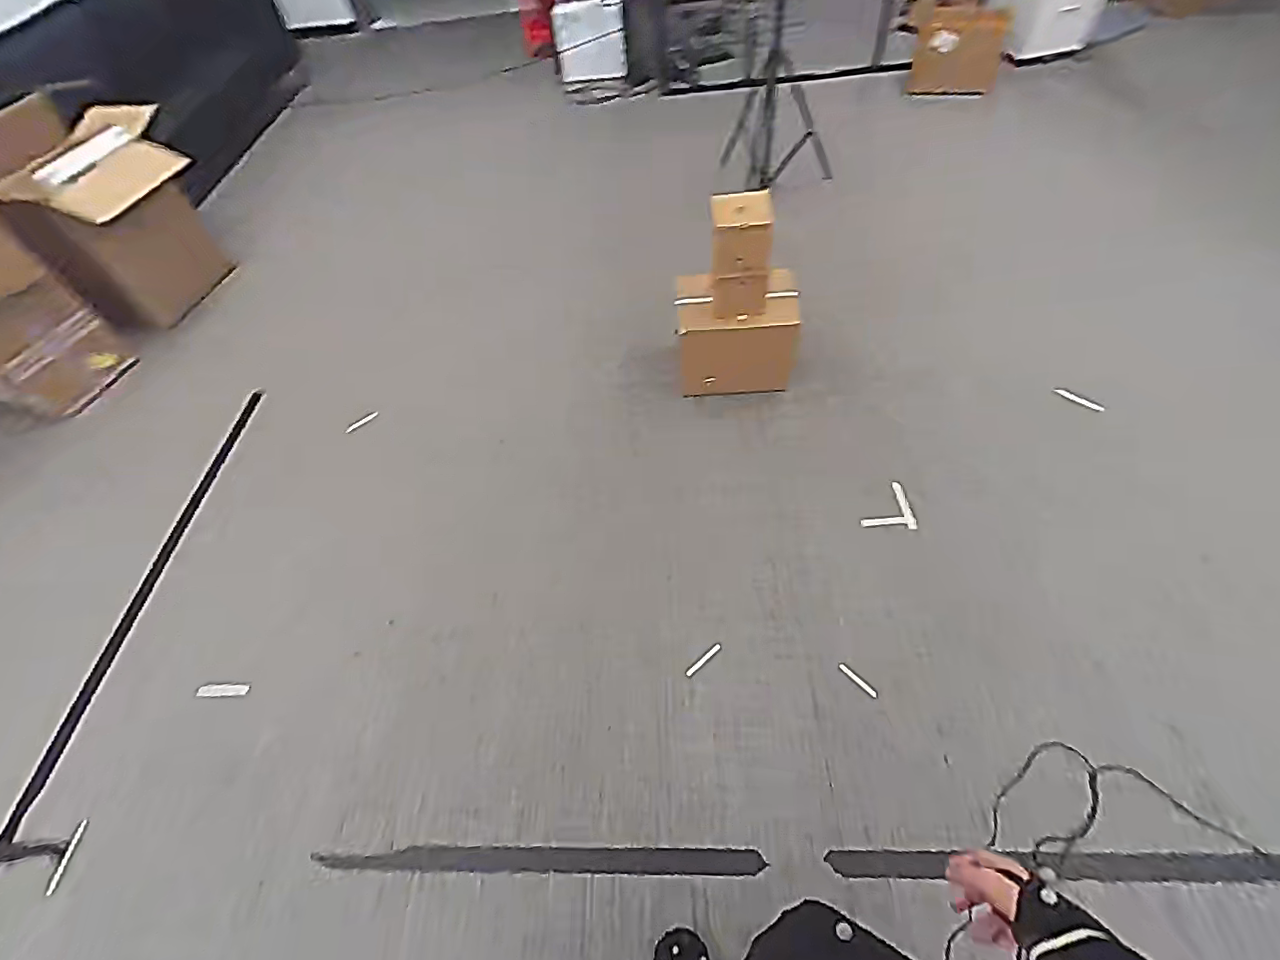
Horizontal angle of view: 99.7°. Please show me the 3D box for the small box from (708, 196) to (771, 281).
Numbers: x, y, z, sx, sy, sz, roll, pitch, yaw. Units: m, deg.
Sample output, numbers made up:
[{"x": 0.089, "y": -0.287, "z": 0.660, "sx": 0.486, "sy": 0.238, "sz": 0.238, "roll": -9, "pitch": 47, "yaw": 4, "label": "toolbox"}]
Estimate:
[{"x": 0.298, "y": -0.736, "z": 1.653, "sx": 0.168, "sy": 0.176, "sz": 0.179, "roll": -4, "pitch": 56, "yaw": 4, "label": "small box"}]

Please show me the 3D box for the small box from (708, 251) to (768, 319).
[{"x": 0.318, "y": -0.650, "z": 1.790, "sx": 0.179, "sy": 0.176, "sz": 0.168, "roll": -4, "pitch": 56, "yaw": 3, "label": "small box"}]
